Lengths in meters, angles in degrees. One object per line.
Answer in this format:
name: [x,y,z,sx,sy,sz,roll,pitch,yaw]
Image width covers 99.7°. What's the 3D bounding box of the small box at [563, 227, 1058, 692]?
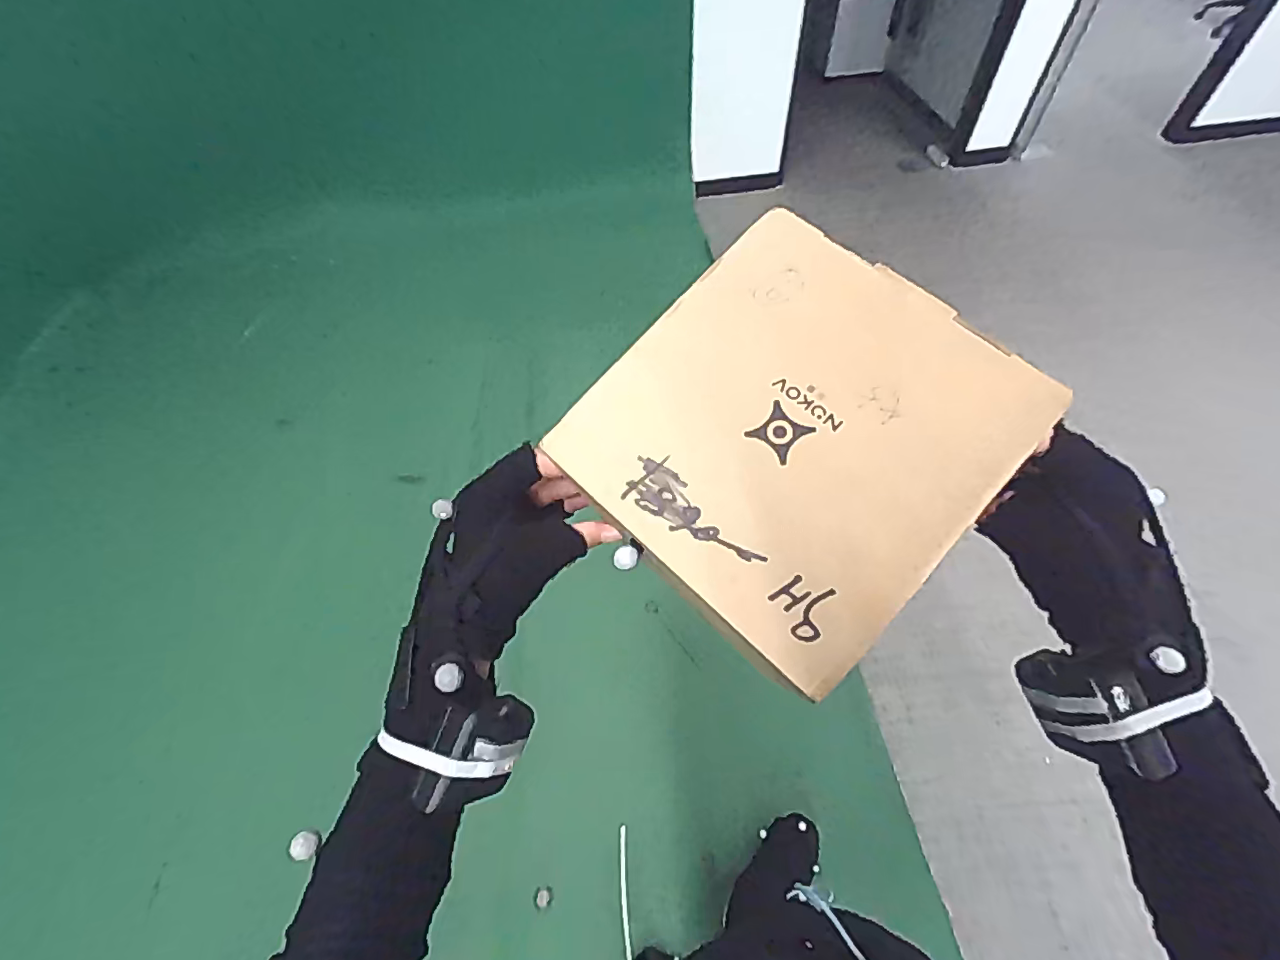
small box: [0.084,-0.001,0.331,0.168,0.176,0.179,42,82,17]
